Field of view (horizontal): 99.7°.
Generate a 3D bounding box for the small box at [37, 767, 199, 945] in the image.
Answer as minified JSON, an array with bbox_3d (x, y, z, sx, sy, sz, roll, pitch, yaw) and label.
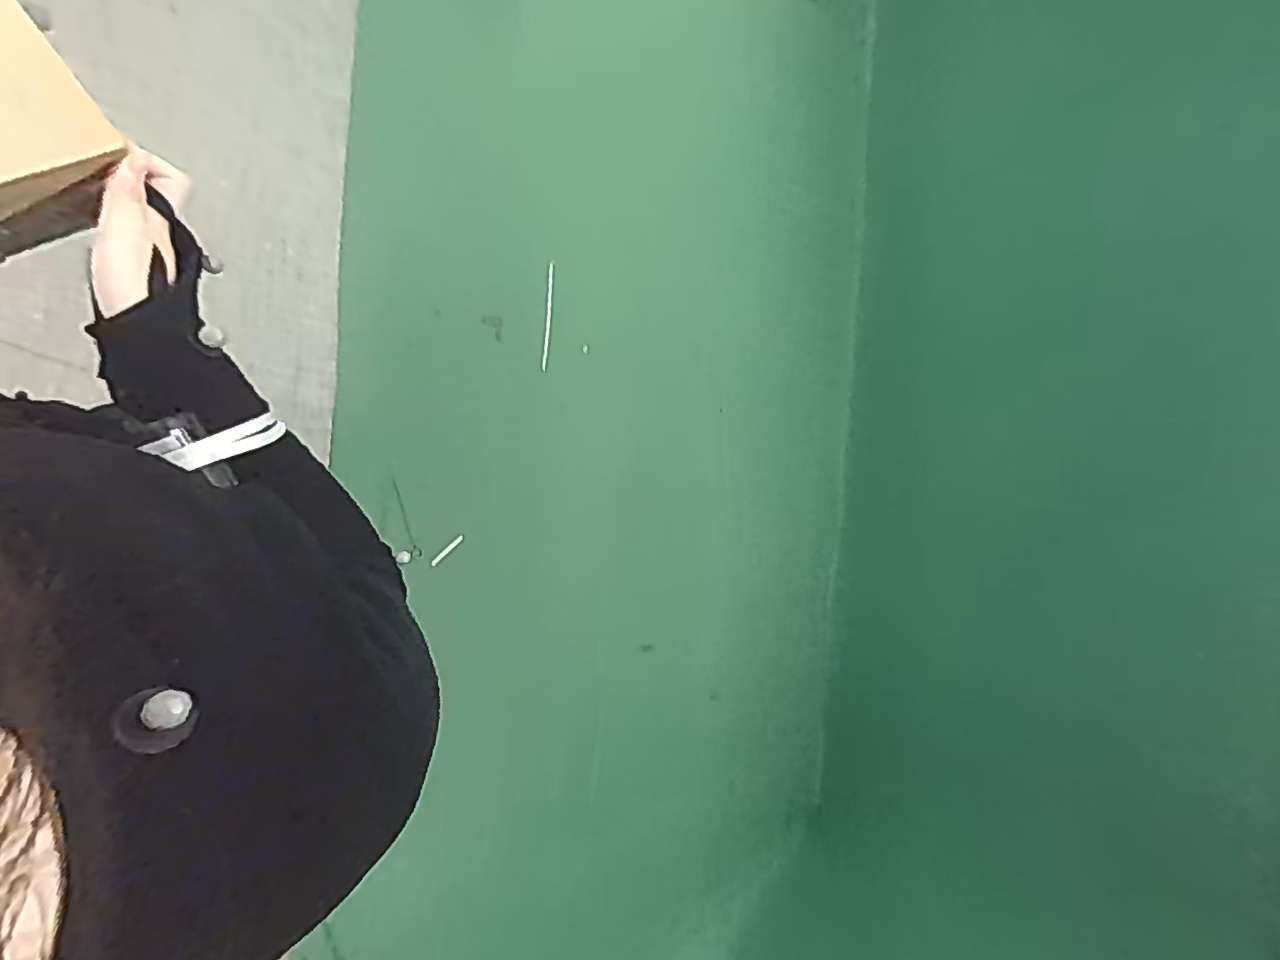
[{"bbox_3d":[-0.884,0.613,0.916,0.168,0.176,0.179,13,83,-47],"label":"small box"}]
